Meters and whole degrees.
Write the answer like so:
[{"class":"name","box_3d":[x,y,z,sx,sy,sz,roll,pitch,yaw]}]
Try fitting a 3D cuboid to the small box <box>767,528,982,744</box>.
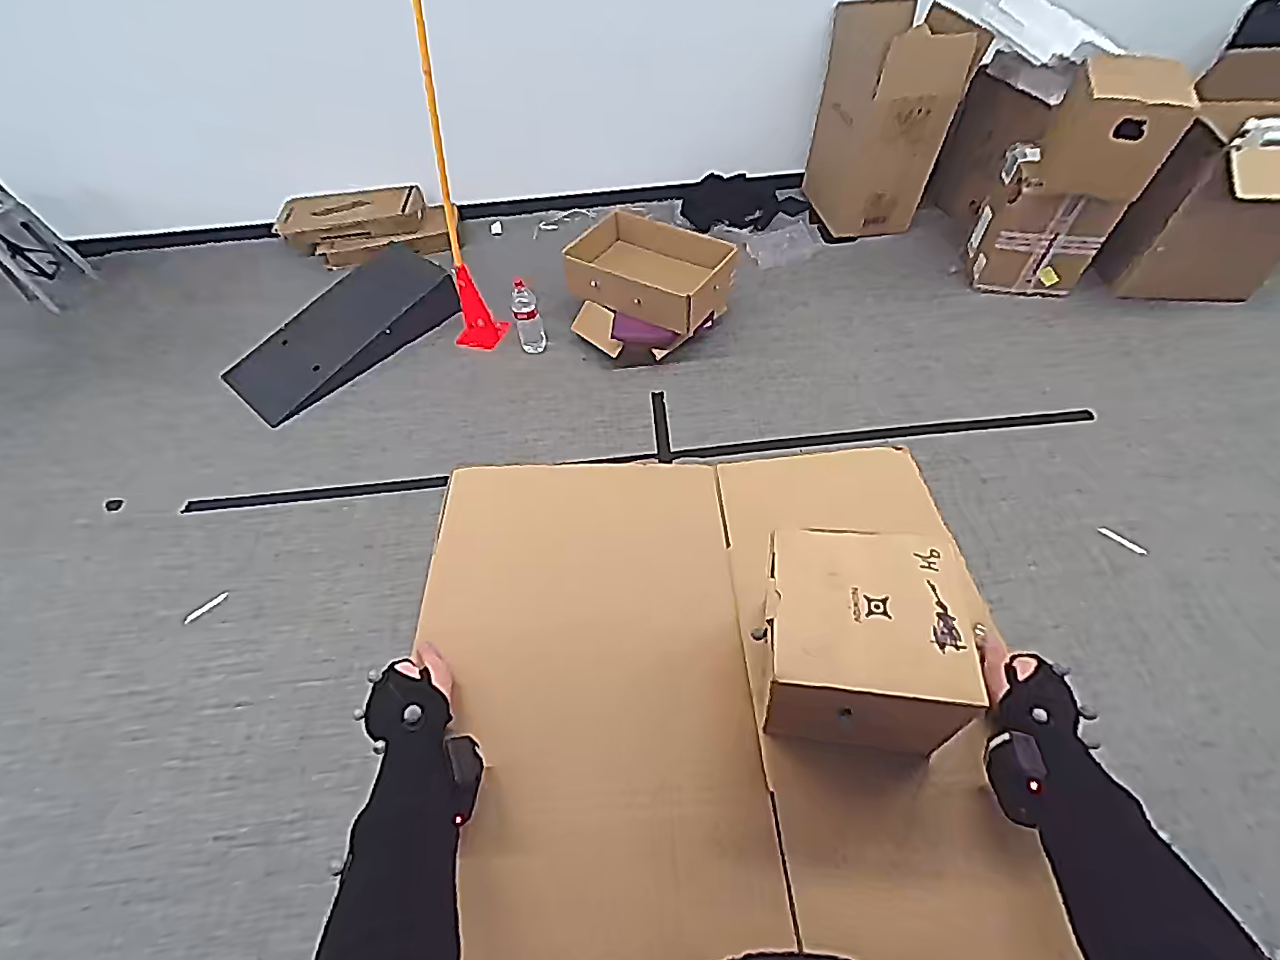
[{"class":"small box","box_3d":[0.228,0.168,0.578,0.179,0.176,0.168,2,52,12]}]
